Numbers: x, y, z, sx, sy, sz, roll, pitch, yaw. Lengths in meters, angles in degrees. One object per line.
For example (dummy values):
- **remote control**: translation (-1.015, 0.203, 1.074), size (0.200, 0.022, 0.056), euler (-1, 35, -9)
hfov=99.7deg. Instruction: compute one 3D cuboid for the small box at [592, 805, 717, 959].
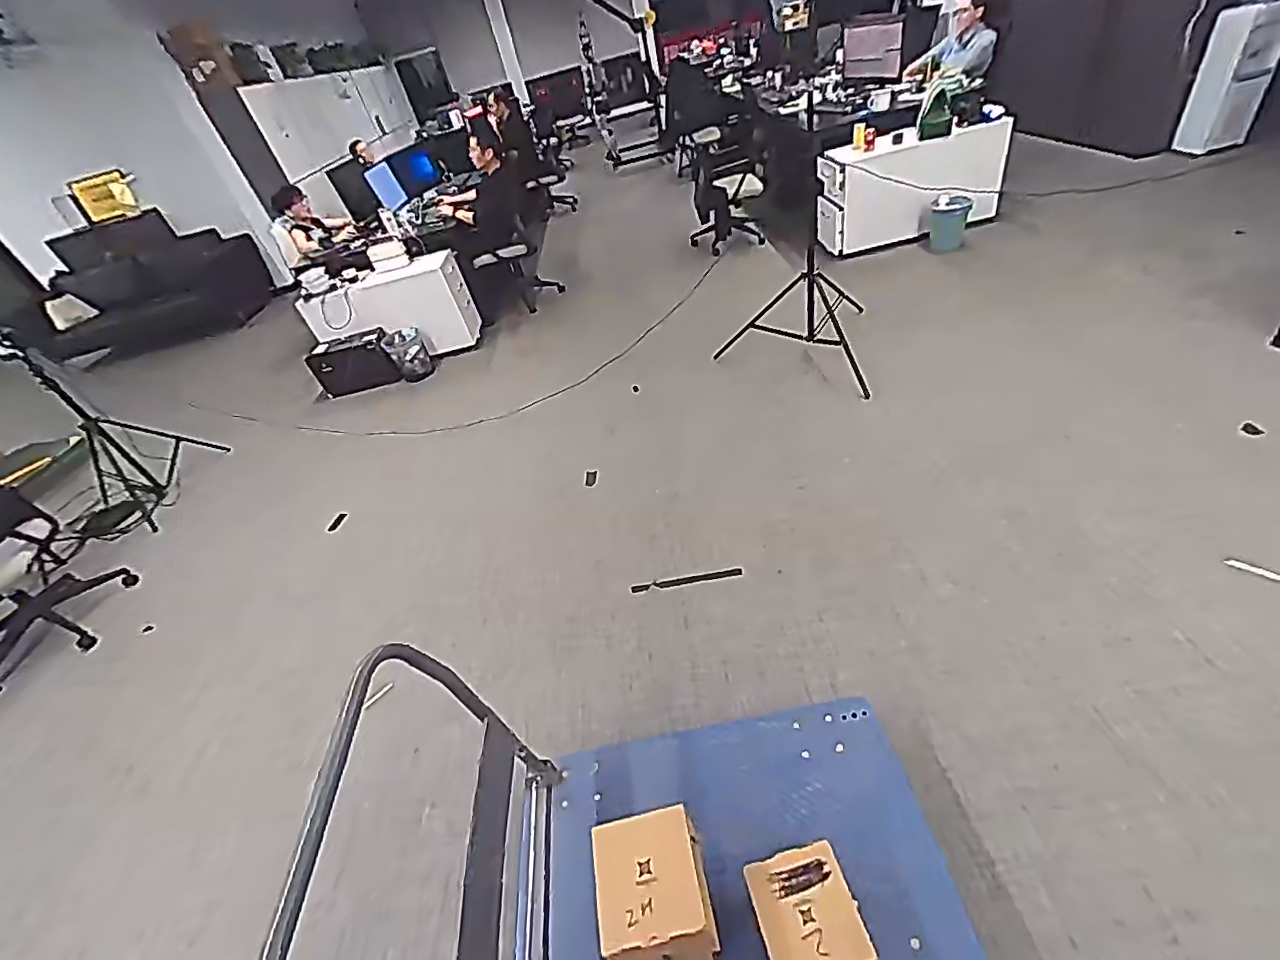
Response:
- **small box**: translation (0.024, 0.690, 0.914), size (0.168, 0.176, 0.179), euler (-15, 40, 1)
